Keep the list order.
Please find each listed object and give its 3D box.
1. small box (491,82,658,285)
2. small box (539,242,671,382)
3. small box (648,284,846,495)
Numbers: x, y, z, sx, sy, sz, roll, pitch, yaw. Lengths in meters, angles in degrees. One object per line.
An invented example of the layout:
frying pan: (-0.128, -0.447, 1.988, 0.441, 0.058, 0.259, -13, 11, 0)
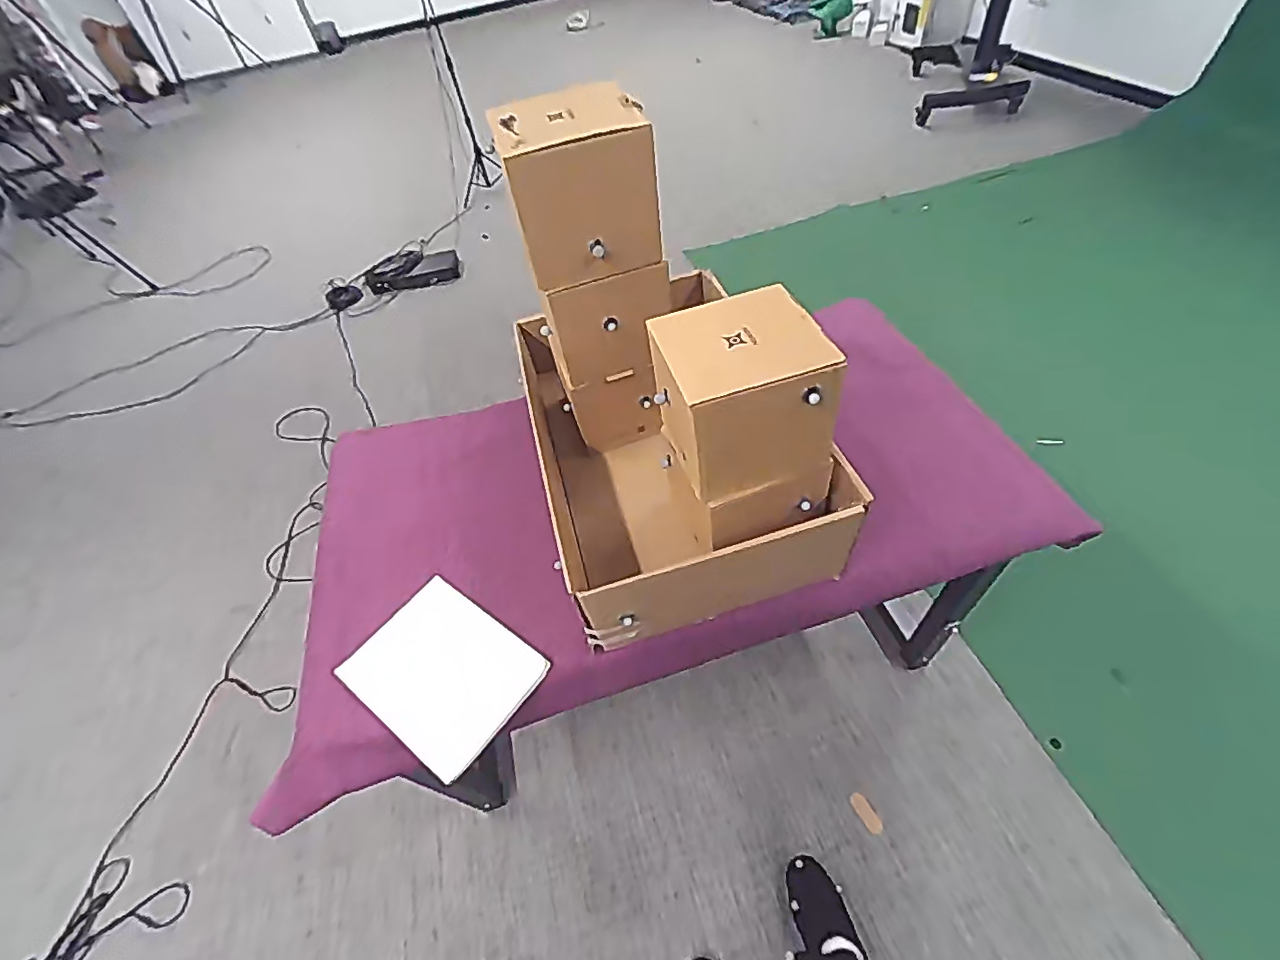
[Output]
small box: (-0.079, -0.383, 0.707, 0.179, 0.176, 0.168, -16, 51, -6)
small box: (-0.058, -0.281, 0.833, 0.179, 0.176, 0.168, -19, 52, -6)
small box: (0.122, -0.105, 0.659, 0.179, 0.176, 0.168, -16, 49, -5)
